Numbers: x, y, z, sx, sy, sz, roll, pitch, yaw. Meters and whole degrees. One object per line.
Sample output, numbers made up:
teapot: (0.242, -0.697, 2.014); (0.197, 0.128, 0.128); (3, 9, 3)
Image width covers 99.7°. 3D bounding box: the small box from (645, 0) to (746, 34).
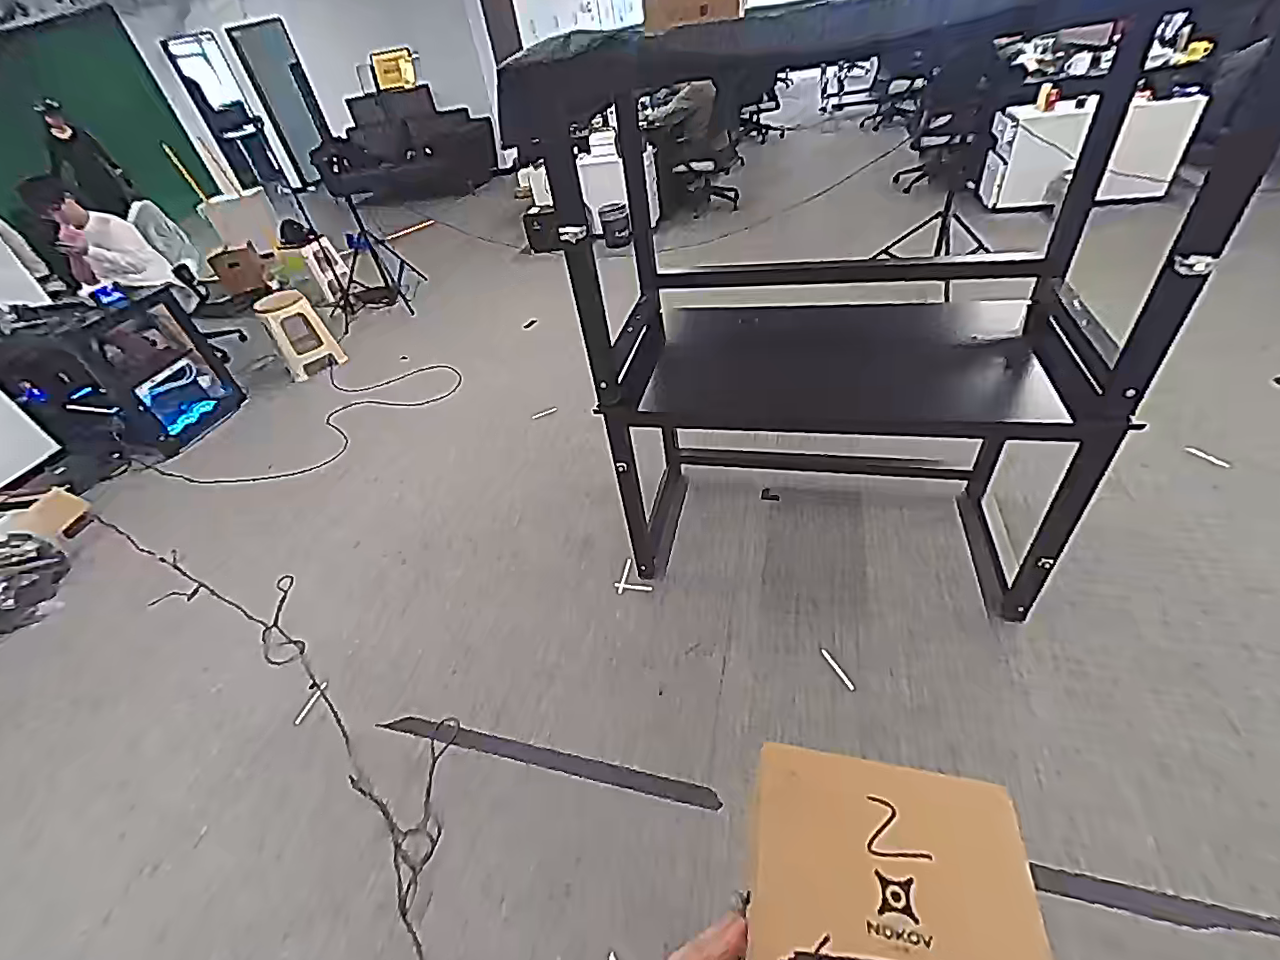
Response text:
small box: (0.096, -0.881, 0.923); (0.168, 0.176, 0.179); (2, 41, 12)
